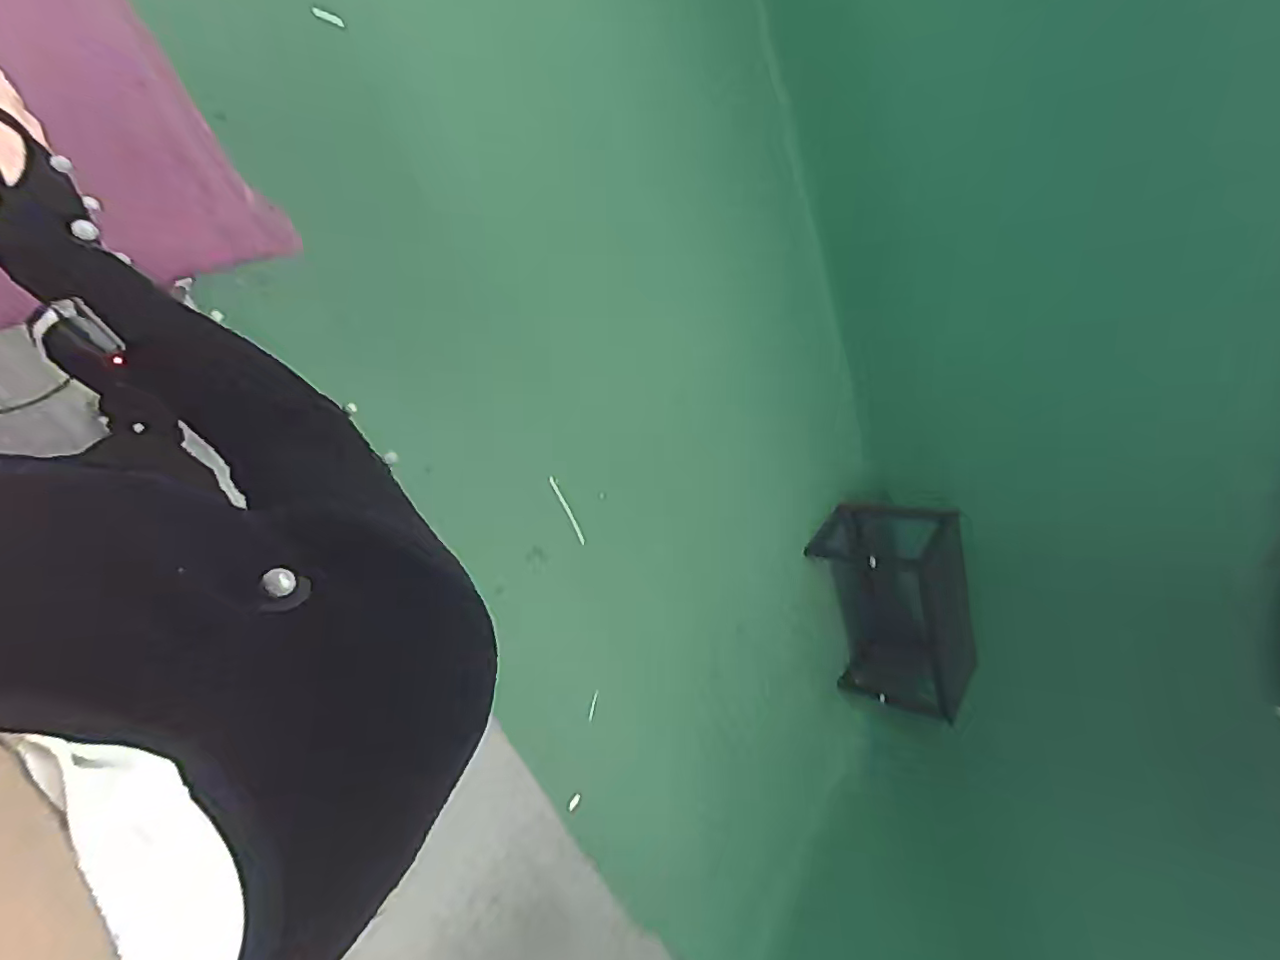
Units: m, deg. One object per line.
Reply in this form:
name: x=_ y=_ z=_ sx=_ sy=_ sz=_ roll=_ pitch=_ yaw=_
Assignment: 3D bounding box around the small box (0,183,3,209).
small box: x=-0.633 y=-0.337 z=0.413 sx=0.168 sy=0.176 sz=0.179 roll=-12 pitch=95 yaw=-46
